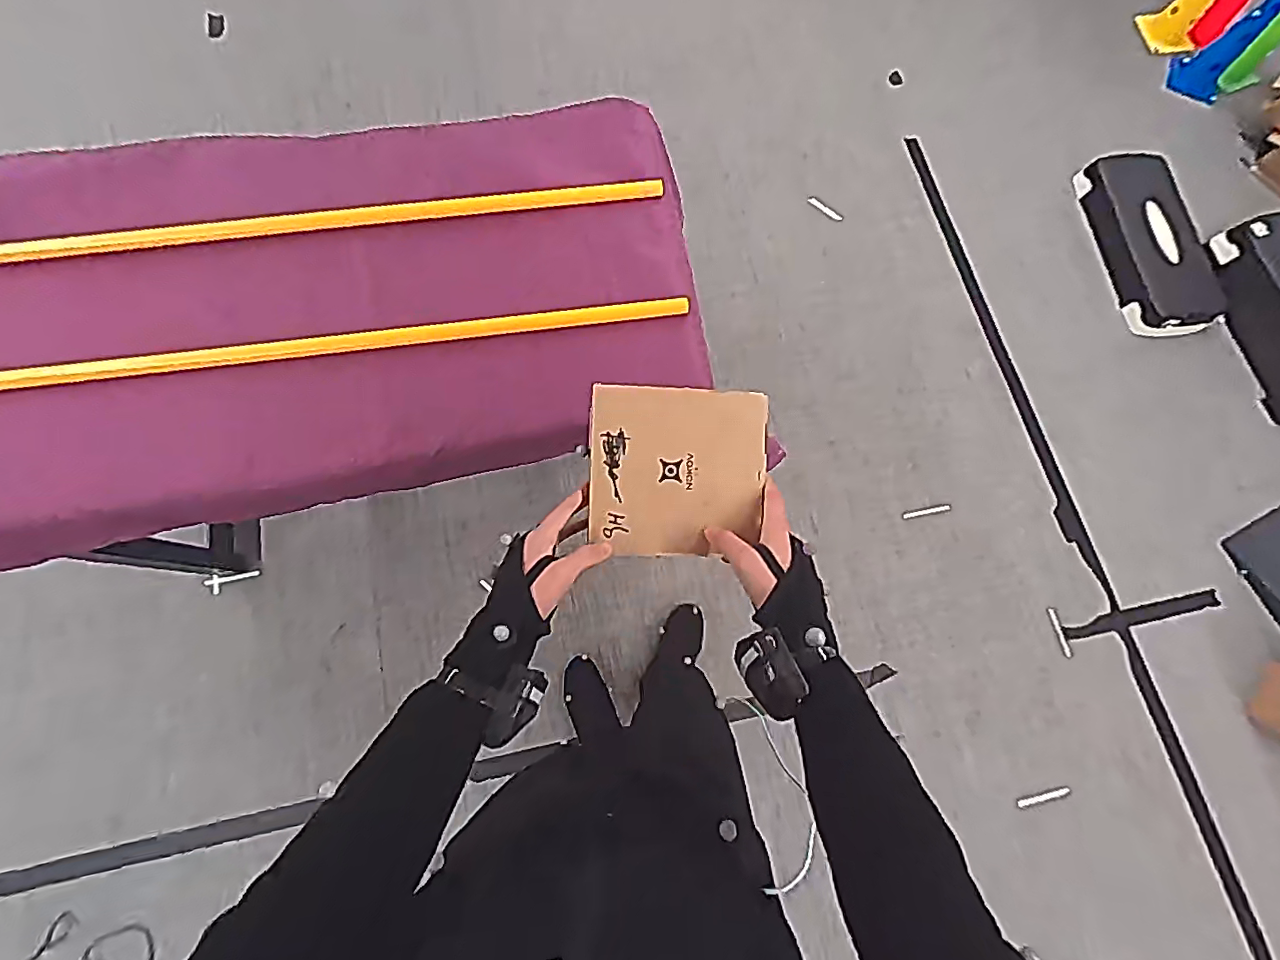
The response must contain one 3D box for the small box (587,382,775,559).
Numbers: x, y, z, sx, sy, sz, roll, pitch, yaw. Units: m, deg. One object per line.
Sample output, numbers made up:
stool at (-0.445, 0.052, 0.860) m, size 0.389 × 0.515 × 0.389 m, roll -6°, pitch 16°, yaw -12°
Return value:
small box at (0.034, -0.009, 0.602) m, size 0.179 × 0.176 × 0.168 m, roll 3°, pitch 90°, yaw -6°
